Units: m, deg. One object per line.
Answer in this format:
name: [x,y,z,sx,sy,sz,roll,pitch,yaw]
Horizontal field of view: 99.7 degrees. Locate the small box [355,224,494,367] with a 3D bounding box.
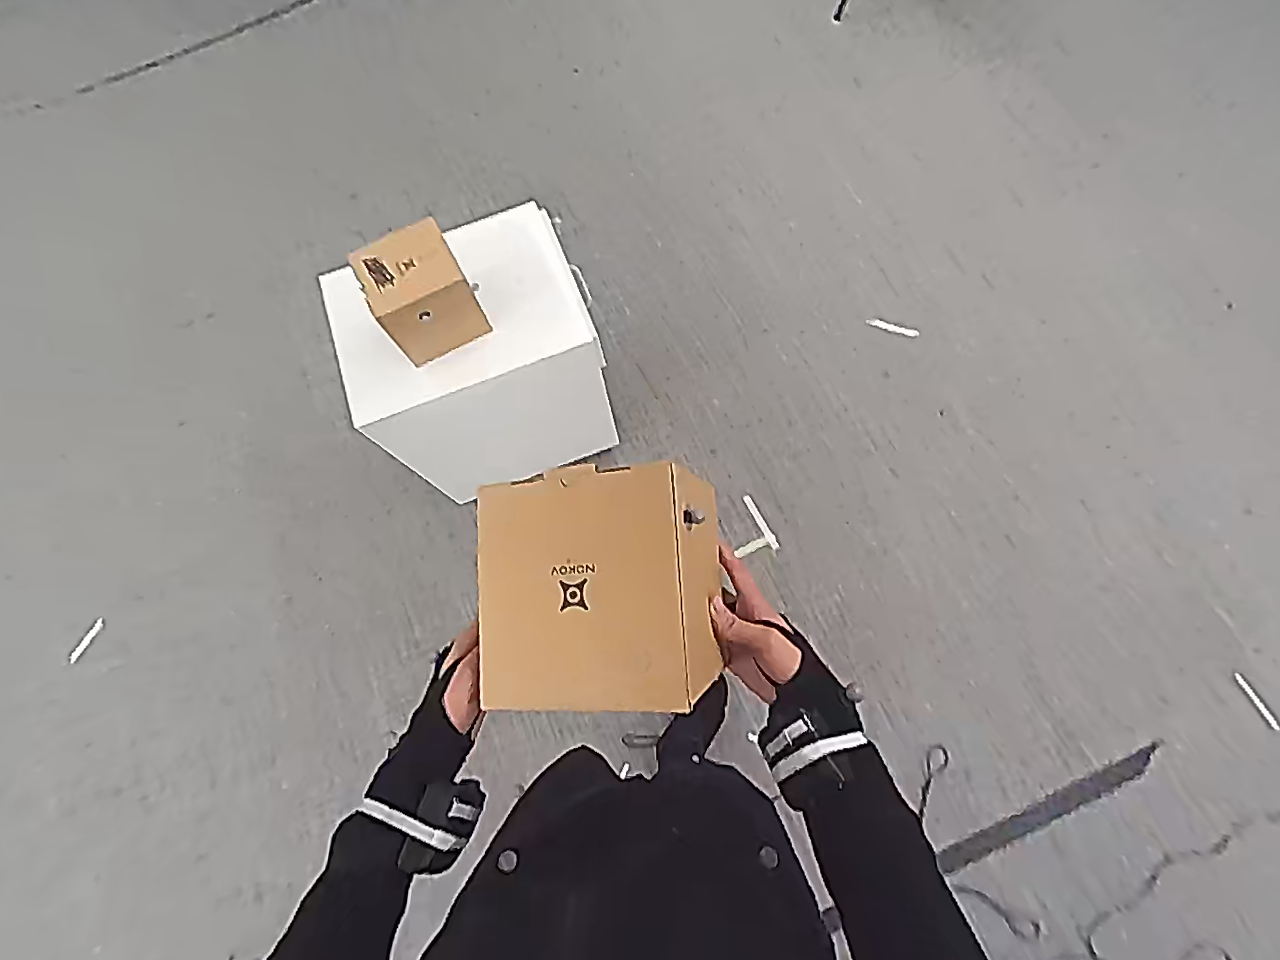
small box: [-0.415,-0.354,1.065,0.179,0.176,0.168,-28,72,-7]

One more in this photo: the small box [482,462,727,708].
small box: [-0.022,0.092,0.482,0.168,0.176,0.179,-8,78,17]
